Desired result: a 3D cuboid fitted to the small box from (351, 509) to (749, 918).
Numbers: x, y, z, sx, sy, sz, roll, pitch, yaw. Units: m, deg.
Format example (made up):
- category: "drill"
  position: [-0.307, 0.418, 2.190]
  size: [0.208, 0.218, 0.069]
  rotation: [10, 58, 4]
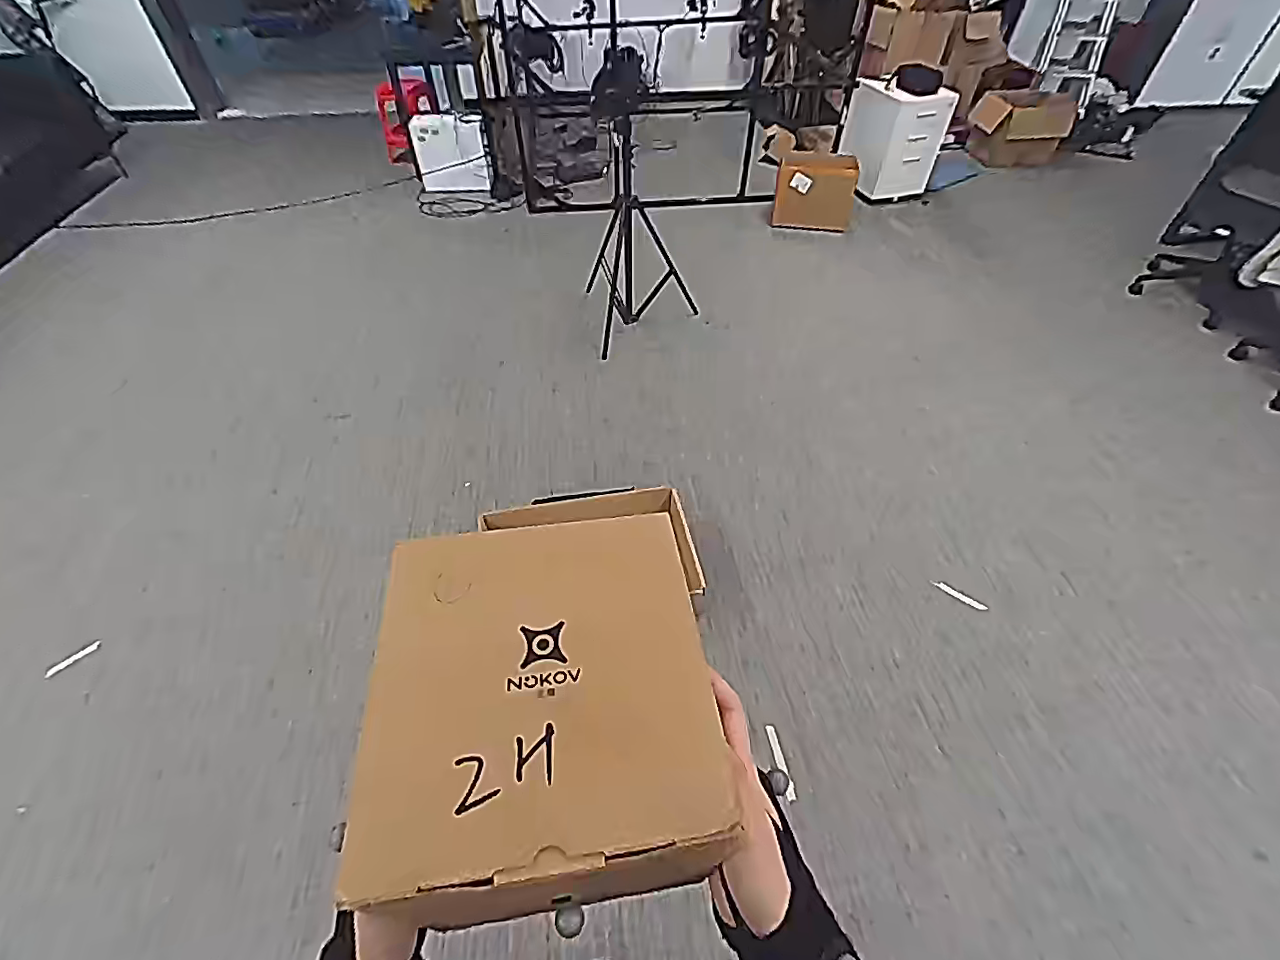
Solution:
- category: "small box"
  position: [-0.048, 0.142, 0.335]
  size: [0.168, 0.176, 0.179]
  rotation: [-6, 49, -7]
